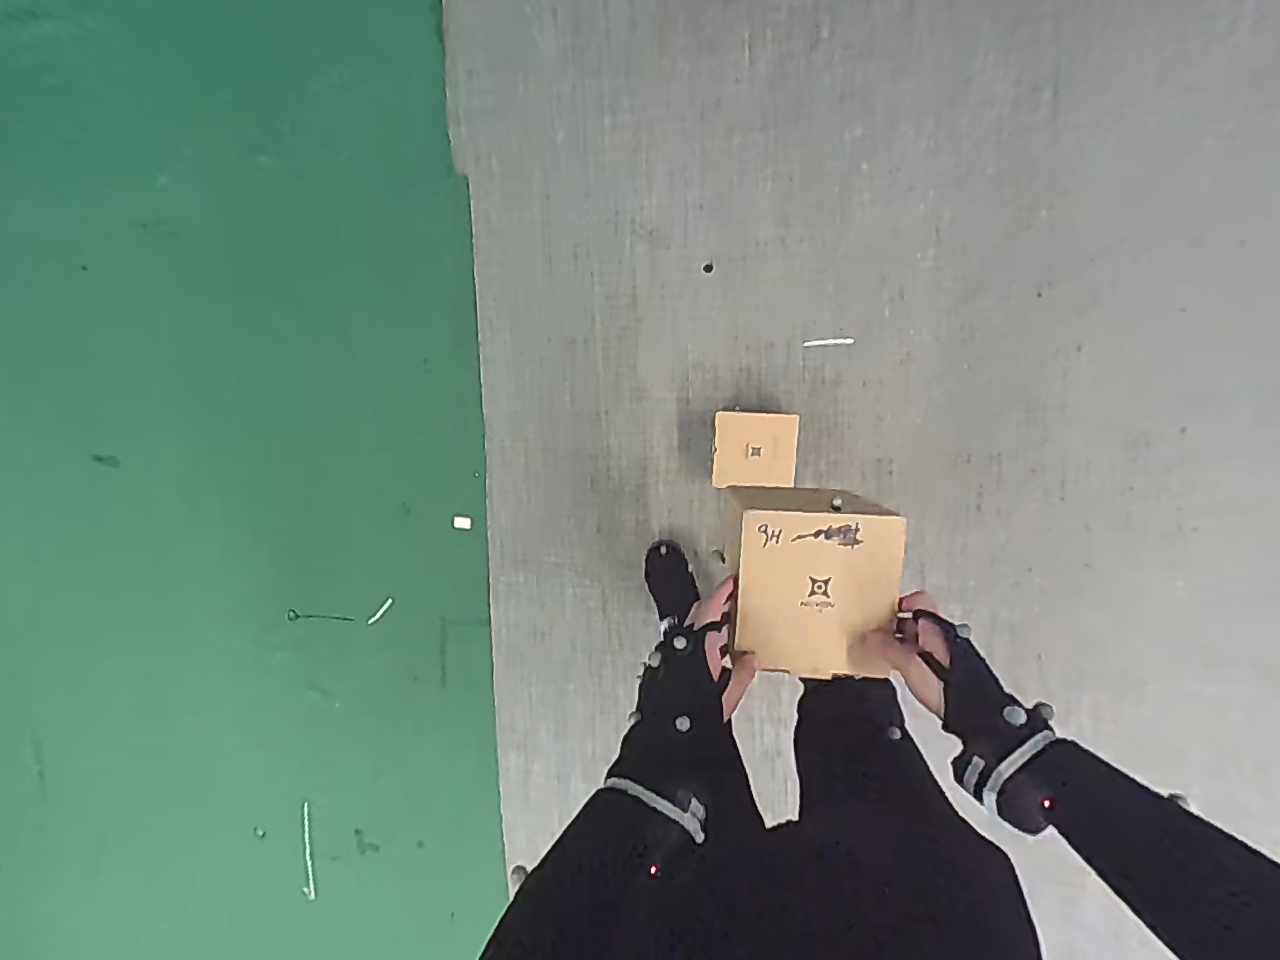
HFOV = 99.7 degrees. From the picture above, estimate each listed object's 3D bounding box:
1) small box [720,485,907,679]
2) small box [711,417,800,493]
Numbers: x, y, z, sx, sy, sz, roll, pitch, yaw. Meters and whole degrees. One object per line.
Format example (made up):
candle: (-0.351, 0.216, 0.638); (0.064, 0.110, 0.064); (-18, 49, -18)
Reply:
small box: (0.189, 0.109, 0.643); (0.168, 0.176, 0.179); (3, 99, 2)
small box: (0.261, -0.053, 1.226); (0.179, 0.176, 0.168); (4, 96, 11)
